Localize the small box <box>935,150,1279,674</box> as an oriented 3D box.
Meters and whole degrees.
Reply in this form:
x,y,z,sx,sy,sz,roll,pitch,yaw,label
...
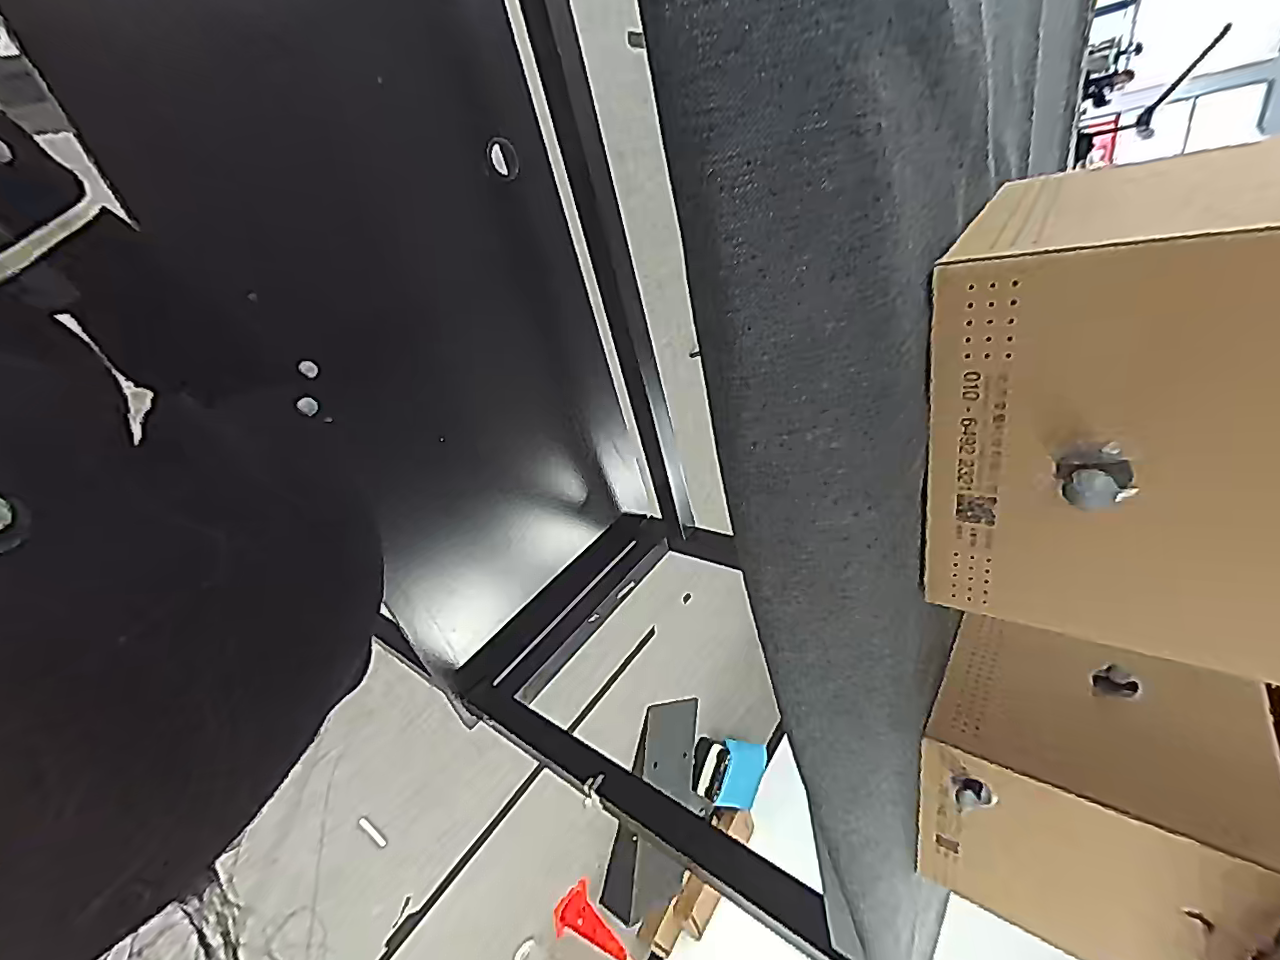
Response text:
x,y,z,sx,sy,sz,roll,pitch,yaw,label
0.246,-0.043,0.241,0.179,0.176,0.168,-43,128,-40,small box

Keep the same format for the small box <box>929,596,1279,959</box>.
x,y,z,sx,sy,sz,roll,pitch,yaw,label
0.320,0.204,0.393,0.179,0.176,0.168,-39,127,-41,small box
